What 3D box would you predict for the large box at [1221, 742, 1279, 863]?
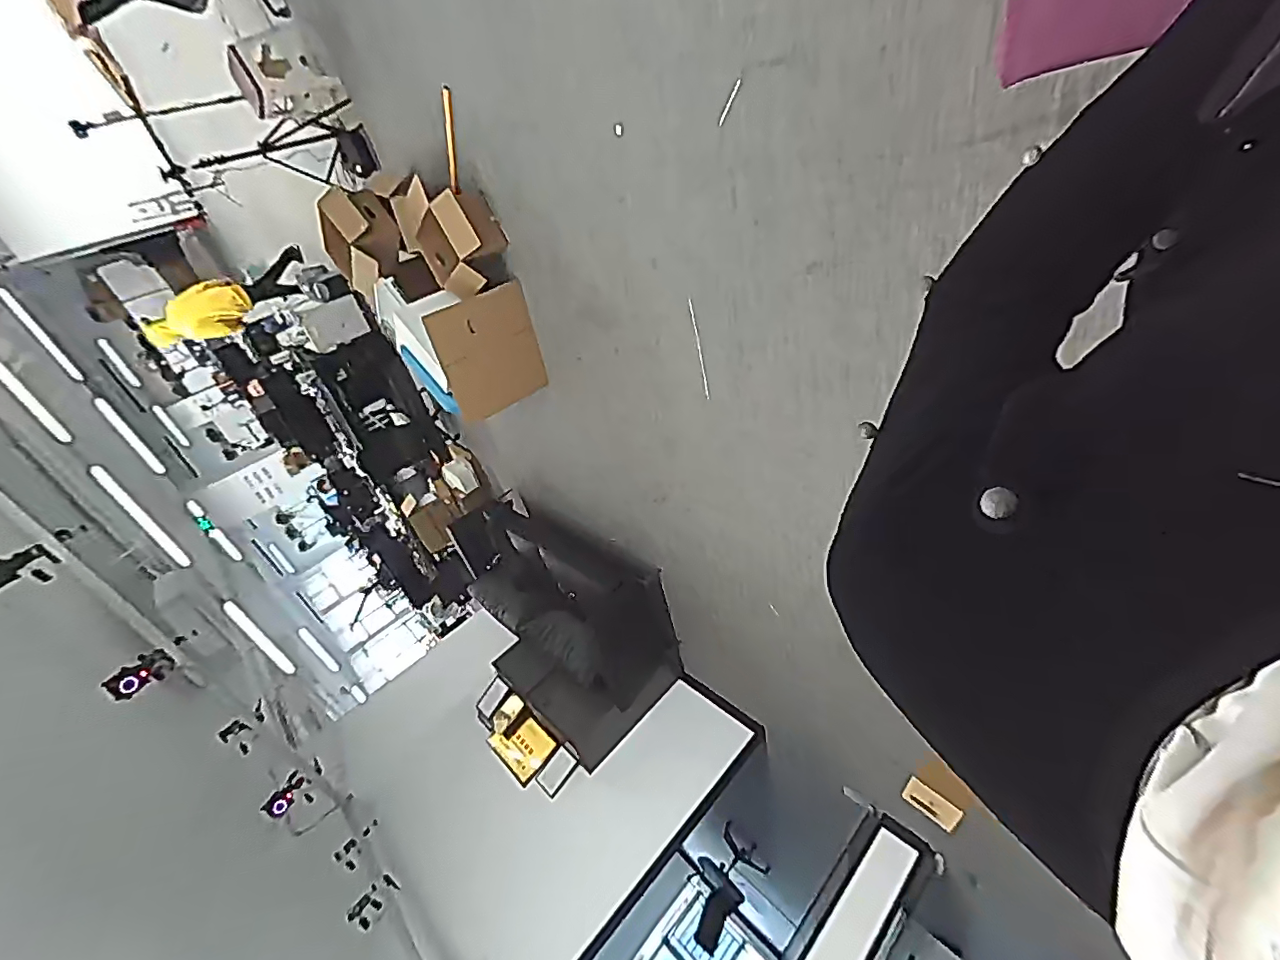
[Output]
[{"bbox_3d":[1.839,0.928,1.373,0.320,0.320,0.408,55,150,-6],"label":"large box"}]
